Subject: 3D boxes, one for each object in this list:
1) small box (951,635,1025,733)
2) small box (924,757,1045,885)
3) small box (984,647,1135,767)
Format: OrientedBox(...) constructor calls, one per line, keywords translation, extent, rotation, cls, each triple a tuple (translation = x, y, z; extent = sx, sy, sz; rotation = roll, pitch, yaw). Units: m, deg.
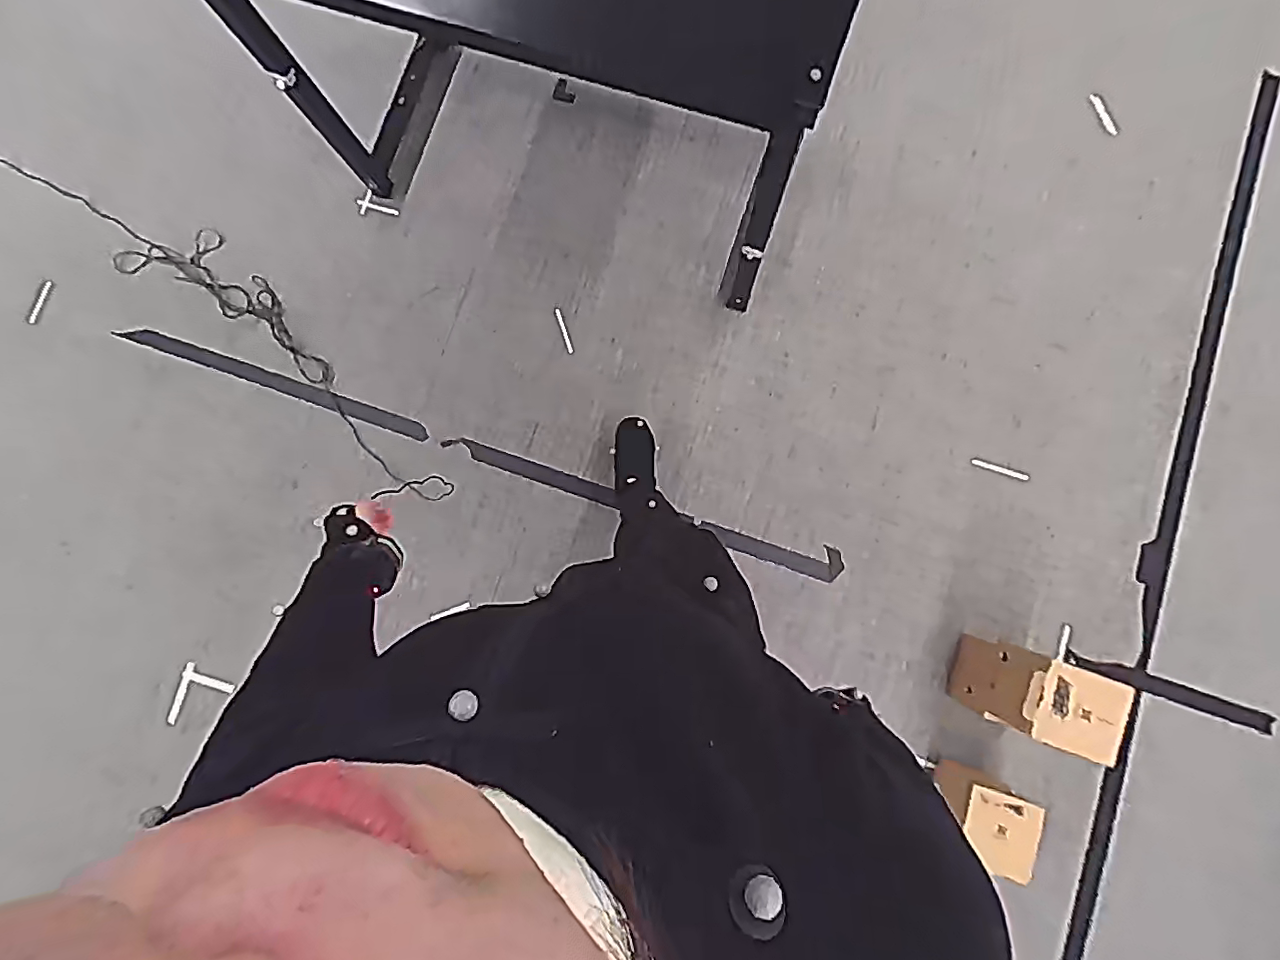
OrientedBox(translation=(0.898, 0.500, 1.327), extent=(0.168, 0.176, 0.179), rotation=(17, 85, 4), cls="small box")
OrientedBox(translation=(0.816, 0.809, 1.302), extent=(0.168, 0.176, 0.179), rotation=(18, 86, 4), cls="small box")
OrientedBox(translation=(0.889, 0.475, 1.165), extent=(0.179, 0.176, 0.168), rotation=(20, 87, 3), cls="small box")
